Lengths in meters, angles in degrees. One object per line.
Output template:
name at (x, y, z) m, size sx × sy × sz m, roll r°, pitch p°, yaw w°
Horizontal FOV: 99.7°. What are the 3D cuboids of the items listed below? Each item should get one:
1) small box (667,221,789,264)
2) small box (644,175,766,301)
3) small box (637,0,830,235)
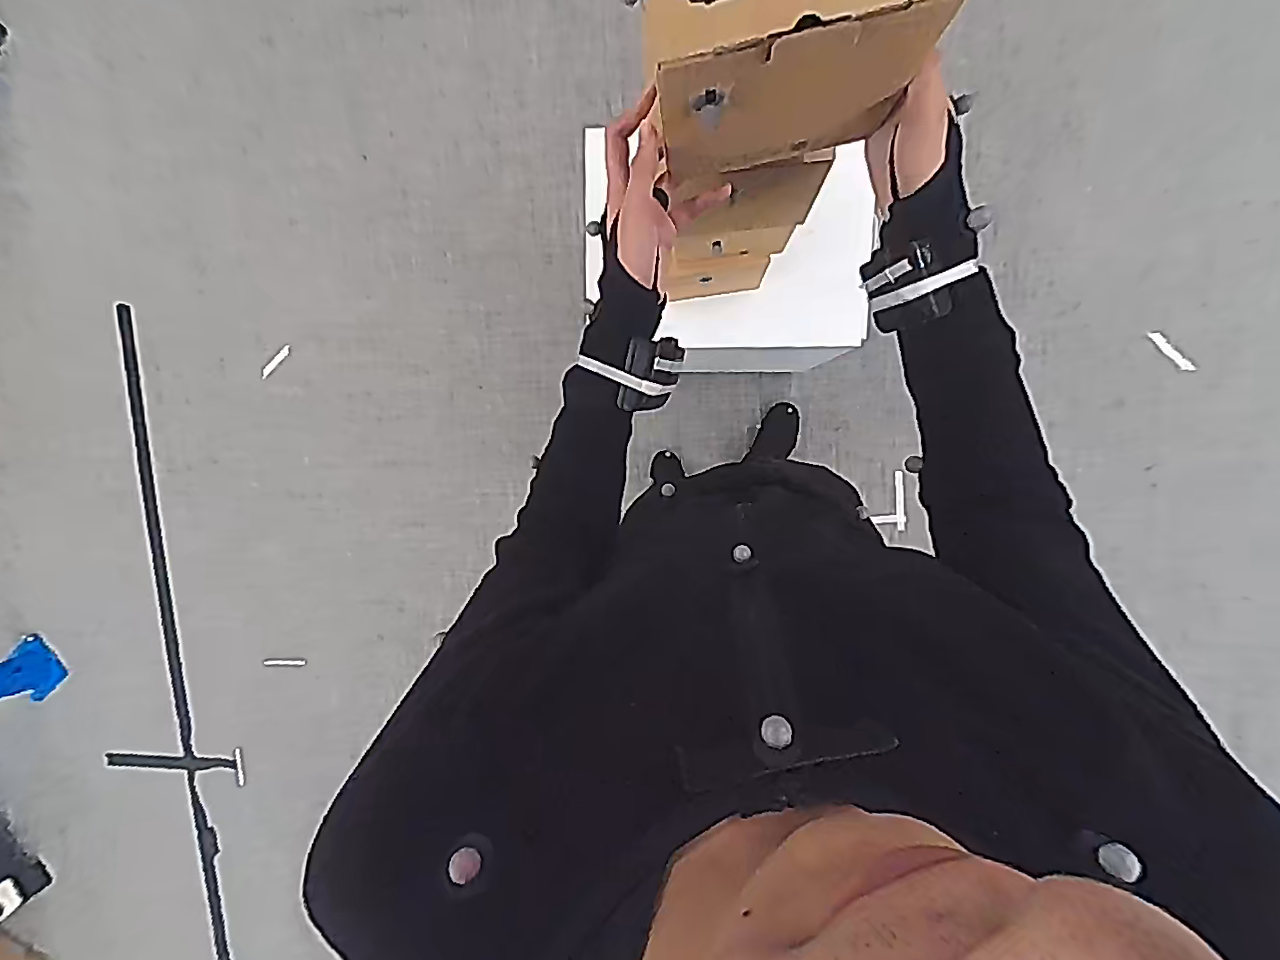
small box at (0.116, -0.411, 0.746) m, size 0.168 × 0.176 × 0.179 m, roll -6°, pitch 95°, yaw 7°
small box at (0.109, -0.410, 0.910) m, size 0.179 × 0.176 × 0.168 m, roll -7°, pitch 96°, yaw 6°
small box at (0.096, -0.381, 0.584) m, size 0.179 × 0.176 × 0.168 m, roll -3°, pitch 96°, yaw 6°
